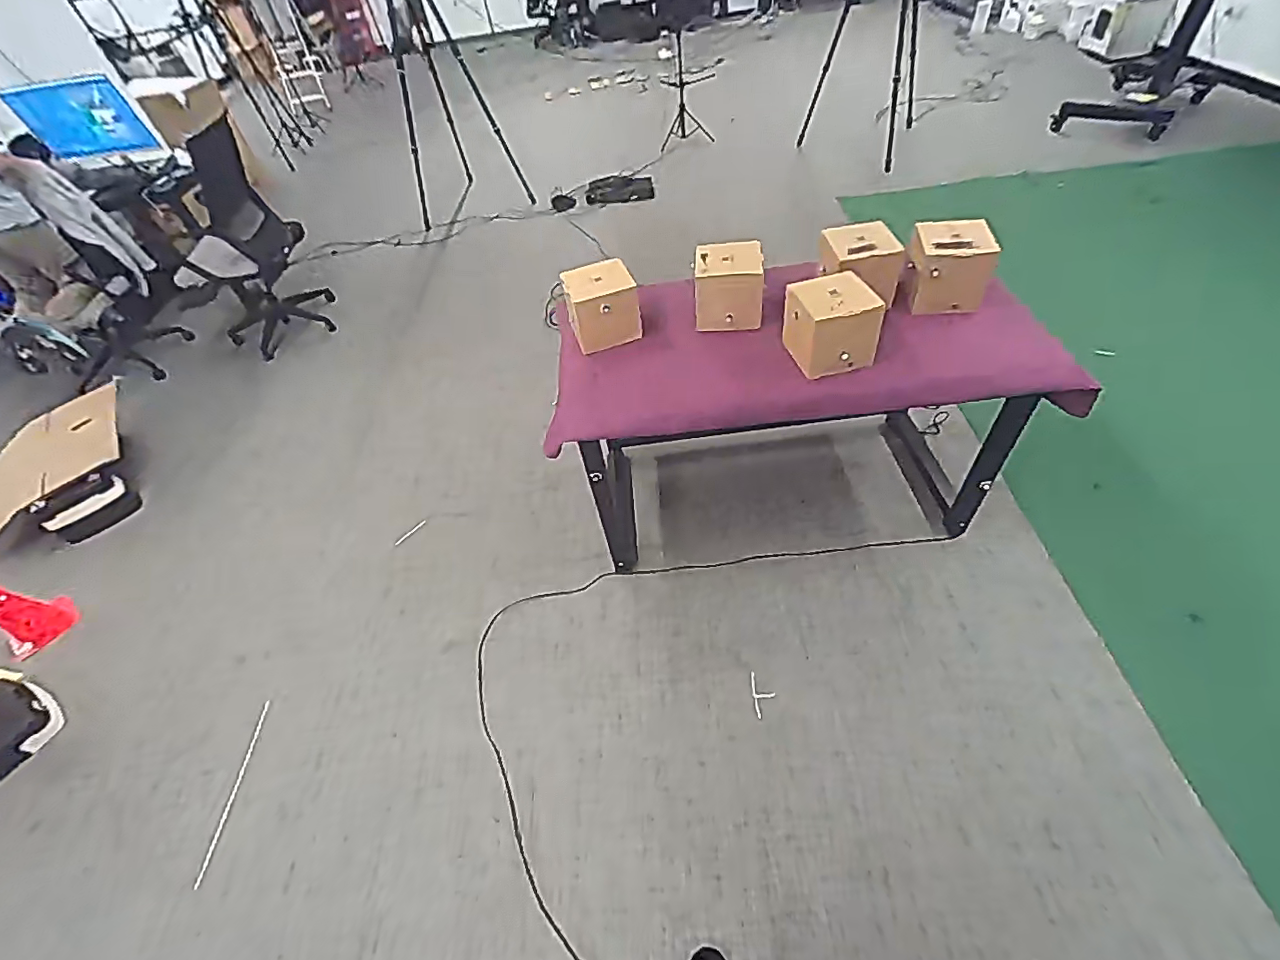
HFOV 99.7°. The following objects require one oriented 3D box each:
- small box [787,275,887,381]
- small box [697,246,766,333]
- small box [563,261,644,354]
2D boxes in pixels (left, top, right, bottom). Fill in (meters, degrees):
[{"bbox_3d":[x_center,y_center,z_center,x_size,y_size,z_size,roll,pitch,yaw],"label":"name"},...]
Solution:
[{"bbox_3d":[0.467,-0.370,1.317,0.168,0.176,0.179,-13,48,-1],"label":"small box"},{"bbox_3d":[0.249,-0.520,1.483,0.179,0.176,0.168,0,50,9],"label":"small box"},{"bbox_3d":[-0.098,-0.473,1.499,0.179,0.176,0.168,-17,50,-6],"label":"small box"}]
